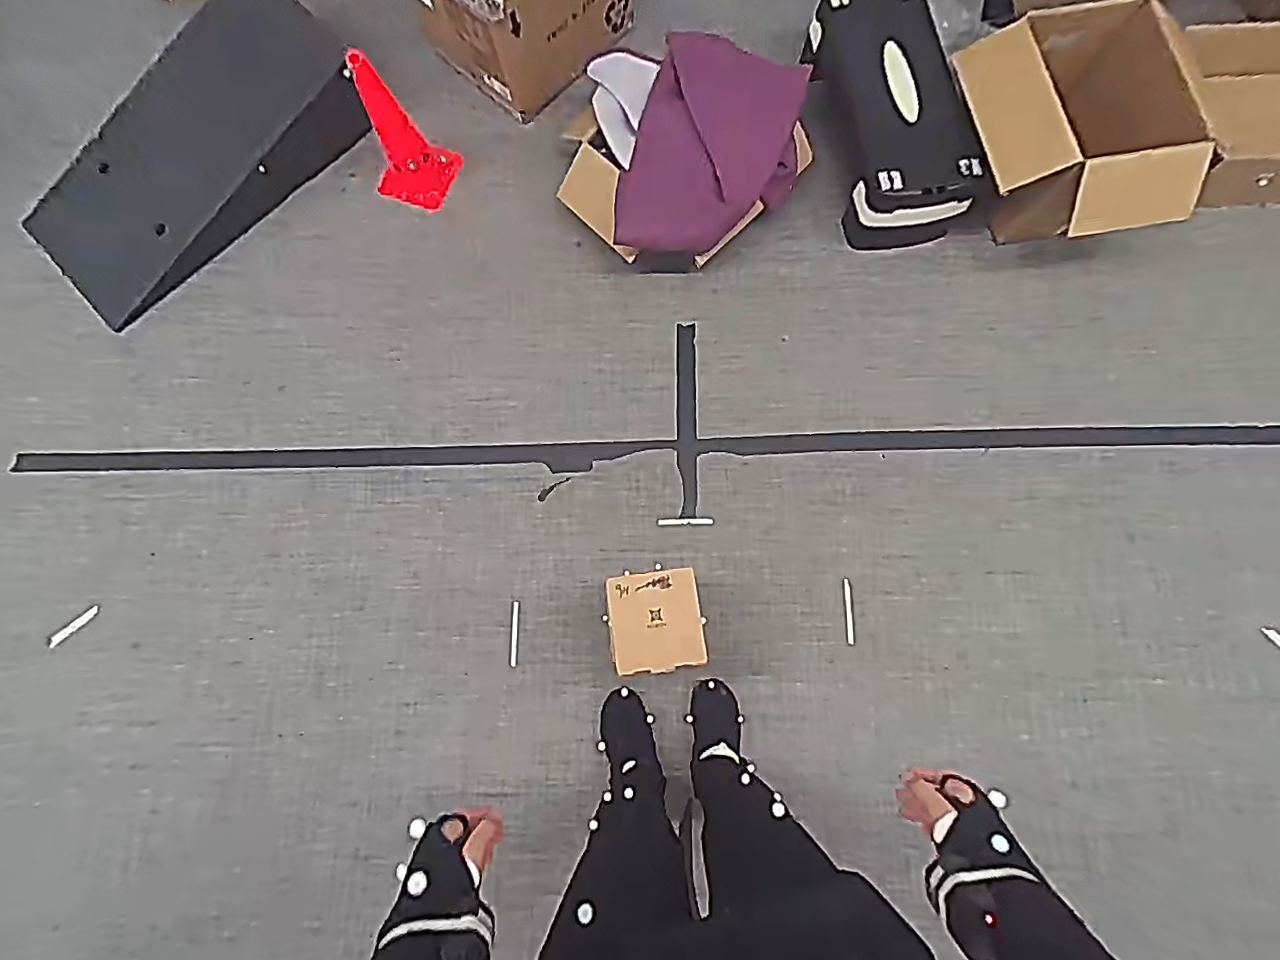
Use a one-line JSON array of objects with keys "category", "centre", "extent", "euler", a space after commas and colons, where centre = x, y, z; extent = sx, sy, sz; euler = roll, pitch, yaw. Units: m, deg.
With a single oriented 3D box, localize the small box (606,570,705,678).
[{"category": "small box", "centre": [0.031, 0.273, 1.057], "extent": [0.168, 0.176, 0.179], "euler": [-8, 78, 1]}]
